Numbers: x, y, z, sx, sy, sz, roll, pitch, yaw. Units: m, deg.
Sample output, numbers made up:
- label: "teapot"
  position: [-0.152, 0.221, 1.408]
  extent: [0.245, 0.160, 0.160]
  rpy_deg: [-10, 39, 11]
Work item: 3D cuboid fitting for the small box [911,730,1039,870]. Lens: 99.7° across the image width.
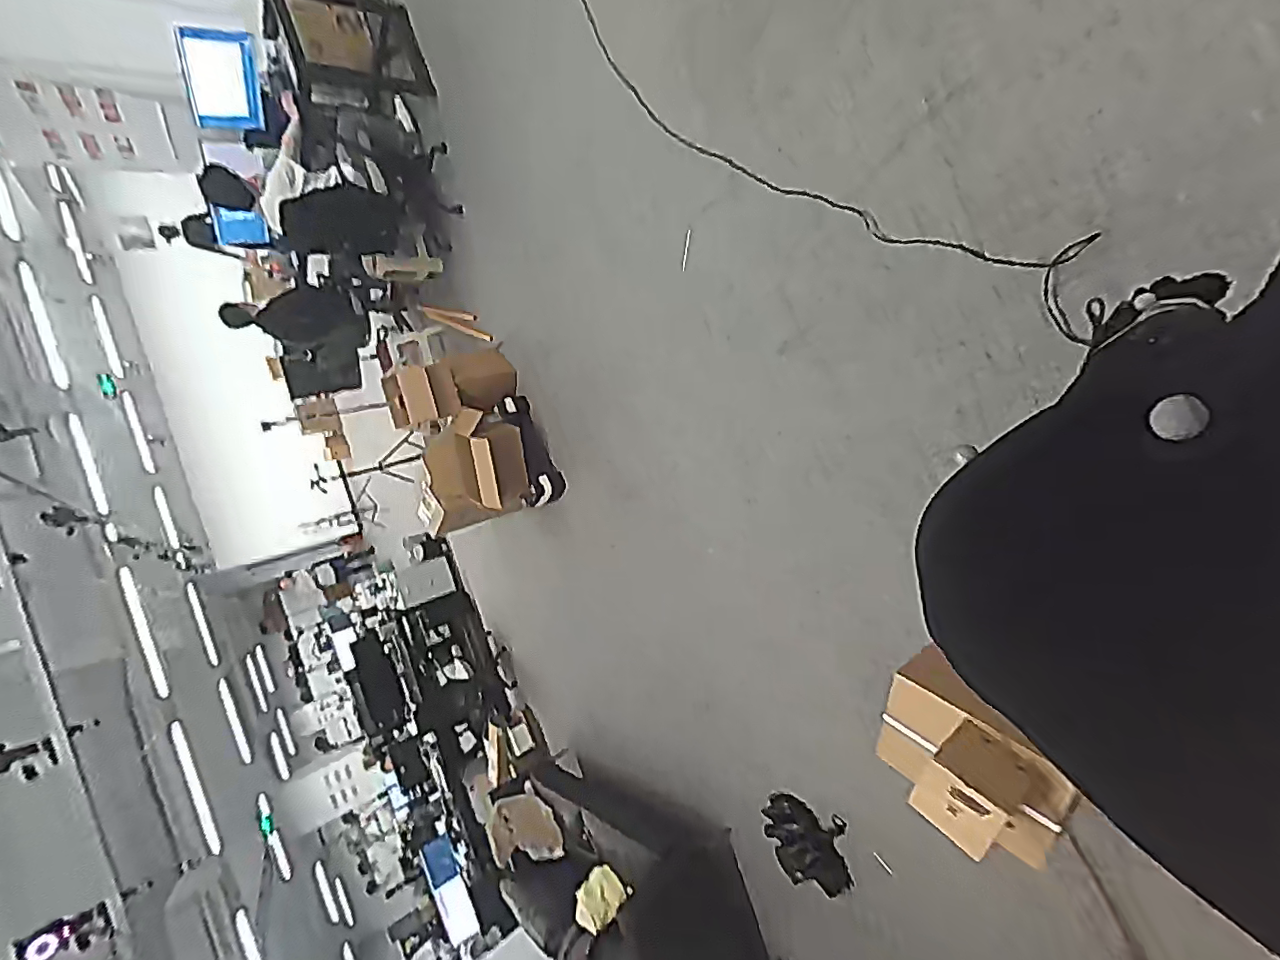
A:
- label: "small box"
  position: [0.747, 0.700, 1.203]
  extent: [0.168, 0.176, 0.179]
  rpy_deg: [35, 131, 43]
